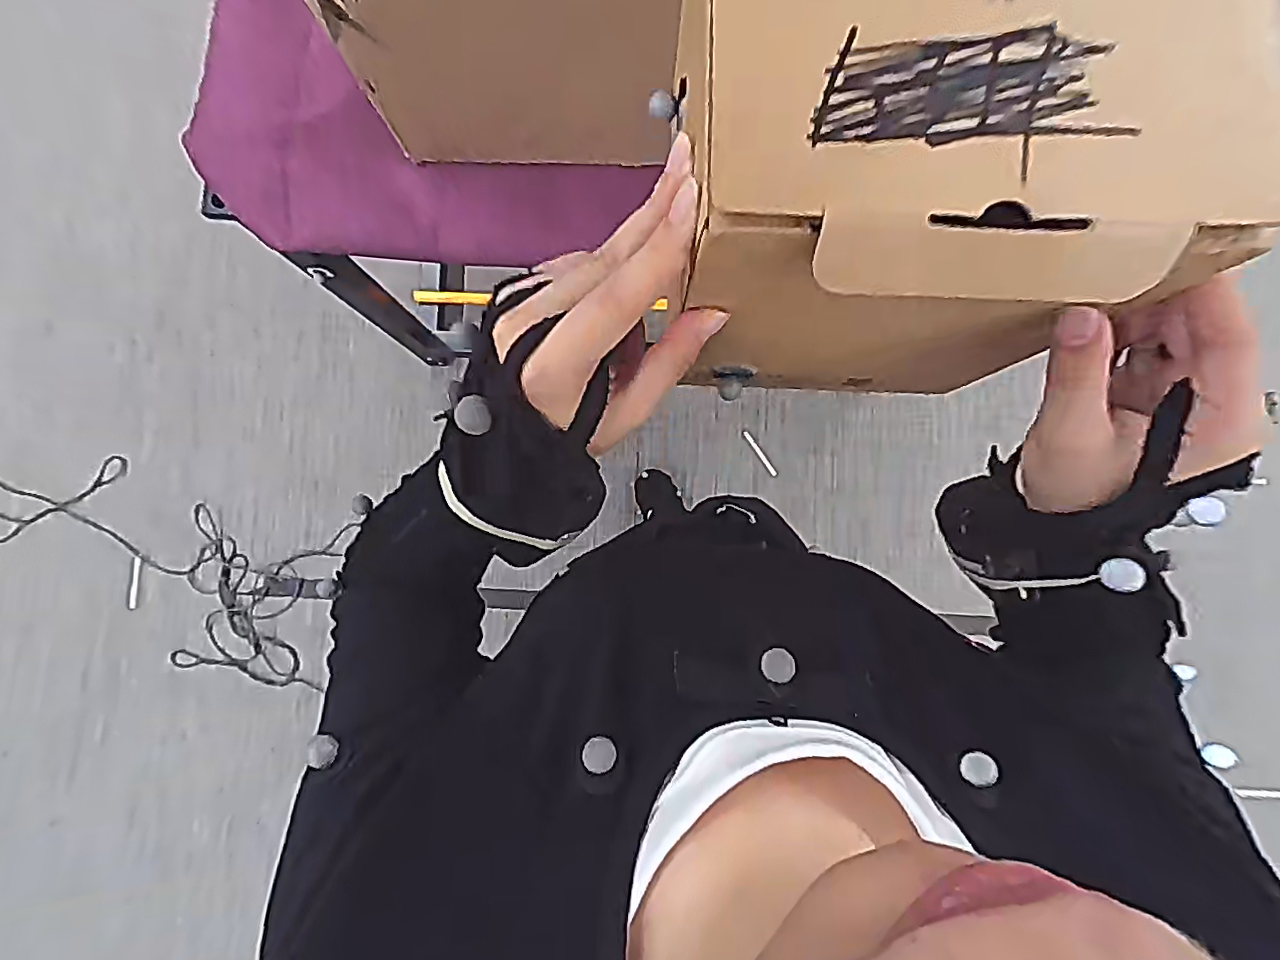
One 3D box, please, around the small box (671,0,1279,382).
[{"bbox_3d":[0.102,-0.147,0.235,0.168,0.176,0.179,2,84,0],"label":"small box"}]
